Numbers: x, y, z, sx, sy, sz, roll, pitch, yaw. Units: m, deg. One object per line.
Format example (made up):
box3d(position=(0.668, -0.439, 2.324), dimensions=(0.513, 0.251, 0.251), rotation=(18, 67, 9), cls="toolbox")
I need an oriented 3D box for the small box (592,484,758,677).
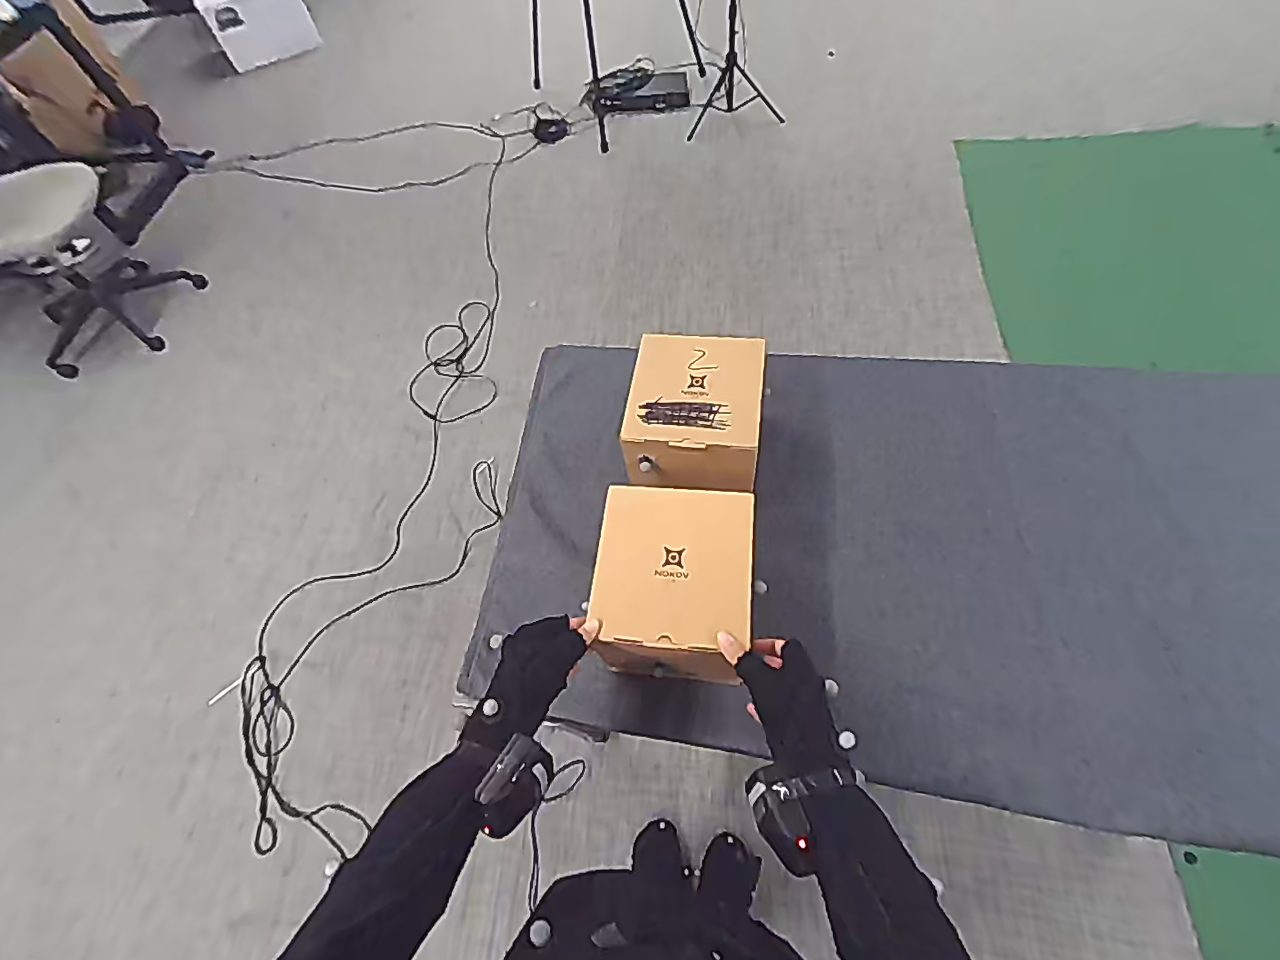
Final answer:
box3d(position=(0.048, 0.123, 0.643), dimensions=(0.168, 0.176, 0.179), rotation=(3, 62, 9), cls="small box")
